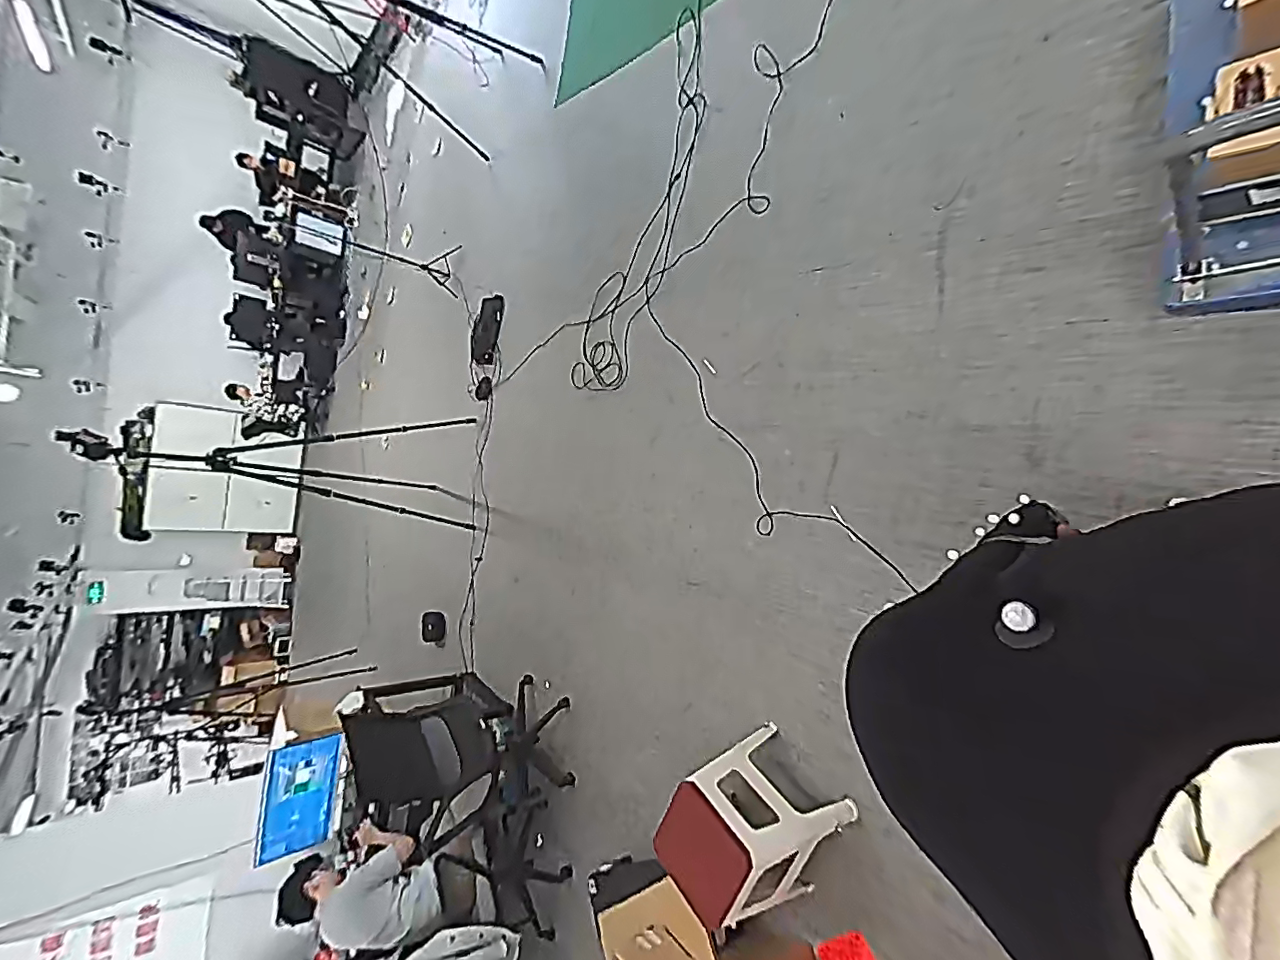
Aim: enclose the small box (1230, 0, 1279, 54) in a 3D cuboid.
[{"bbox_3d":[1.170,-0.909,0.956,0.168,0.176,0.179,-3,84,47],"label":"small box"}]
